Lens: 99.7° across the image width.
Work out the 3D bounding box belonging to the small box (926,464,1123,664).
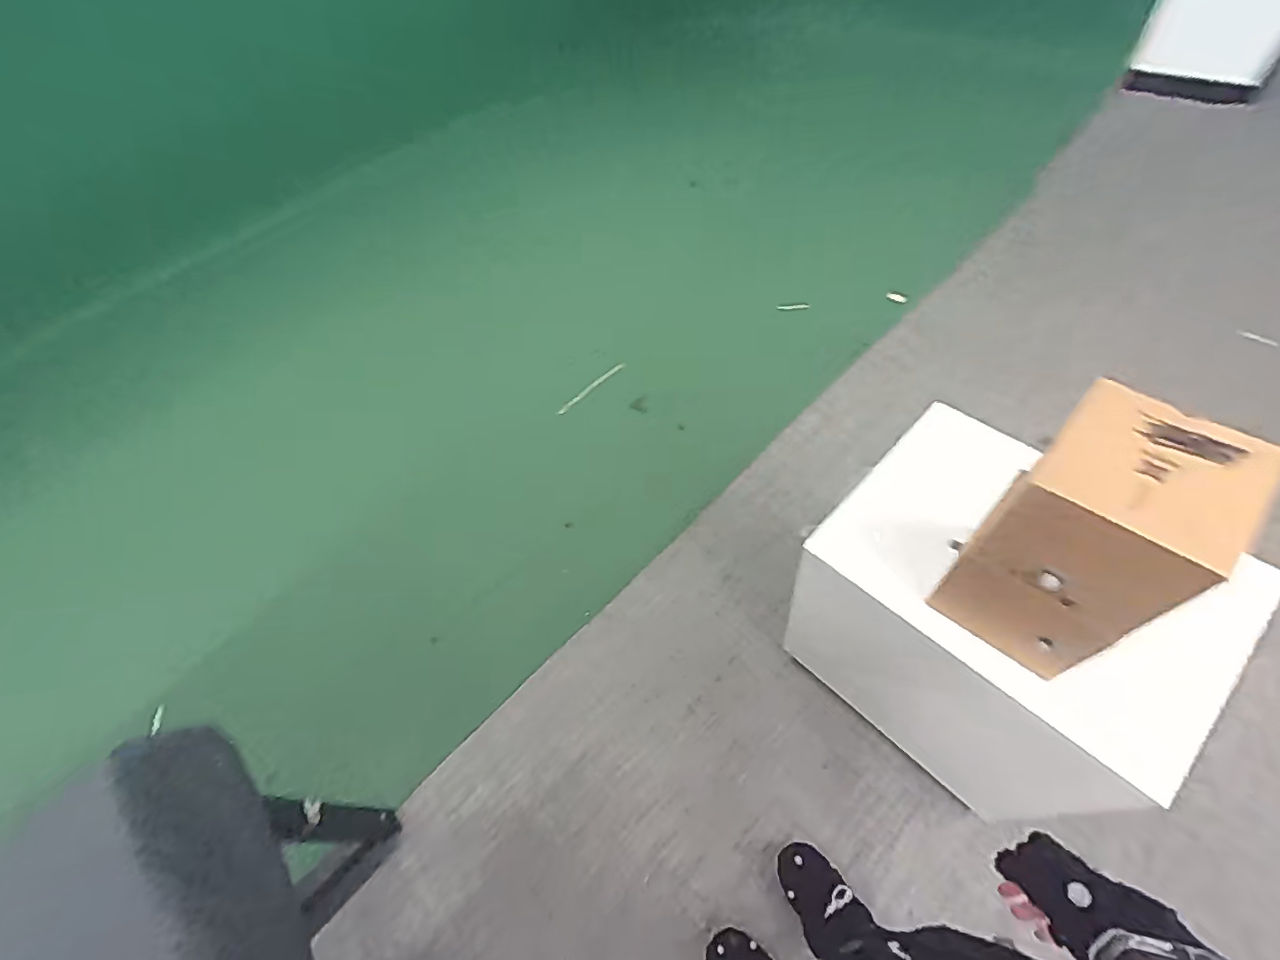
[{"bbox_3d":[0.516,0.117,0.709,0.179,0.176,0.168,34,68,29],"label":"small box"}]

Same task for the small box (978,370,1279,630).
[{"bbox_3d":[0.499,0.023,0.575,0.168,0.176,0.179,33,66,27],"label":"small box"}]
